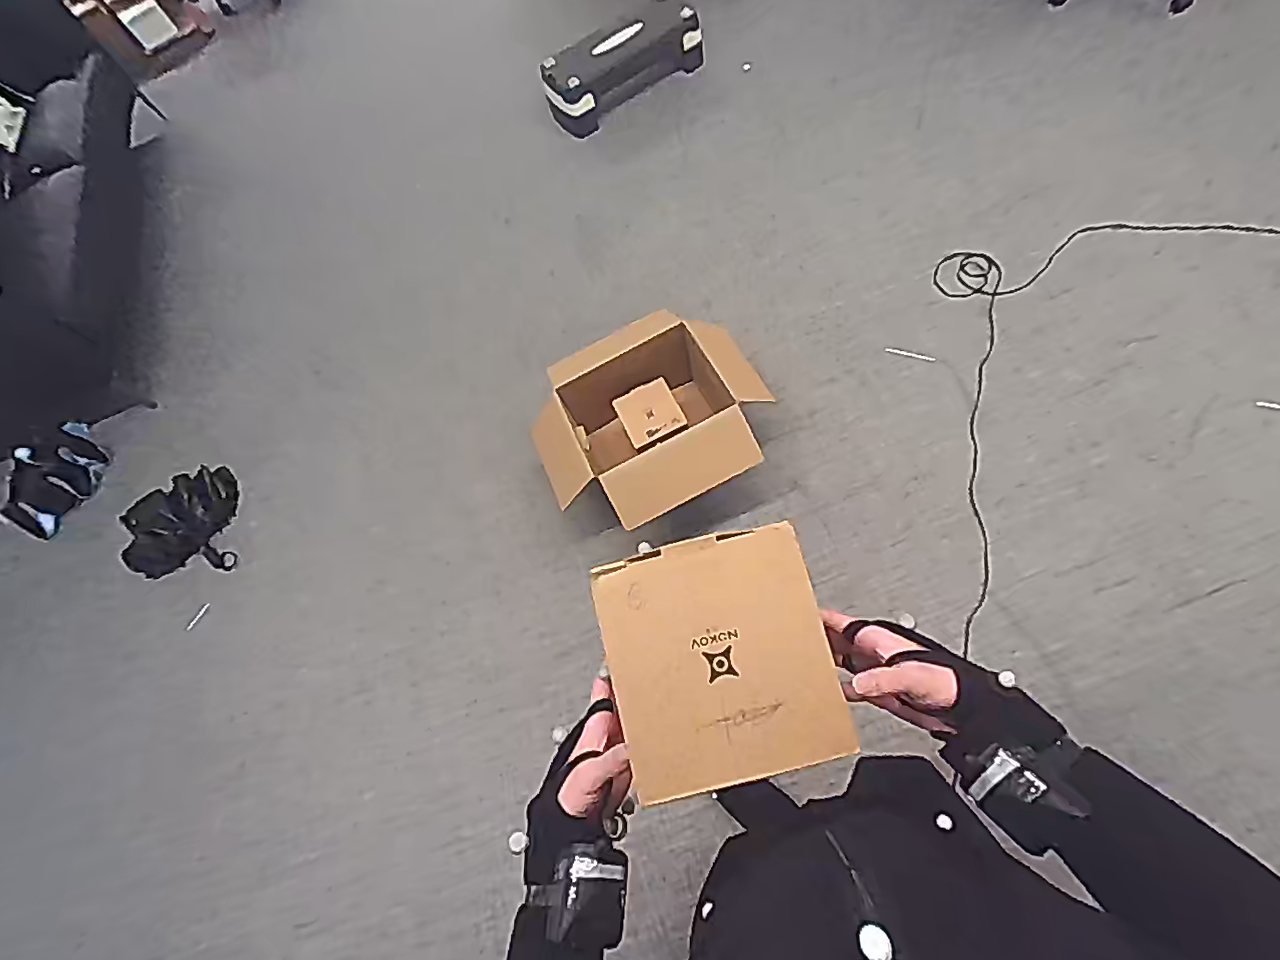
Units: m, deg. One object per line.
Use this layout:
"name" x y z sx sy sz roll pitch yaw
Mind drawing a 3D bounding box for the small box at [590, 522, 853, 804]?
"small box" 0.058 0.144 0.480 0.168 0.176 0.179 -14 82 0
